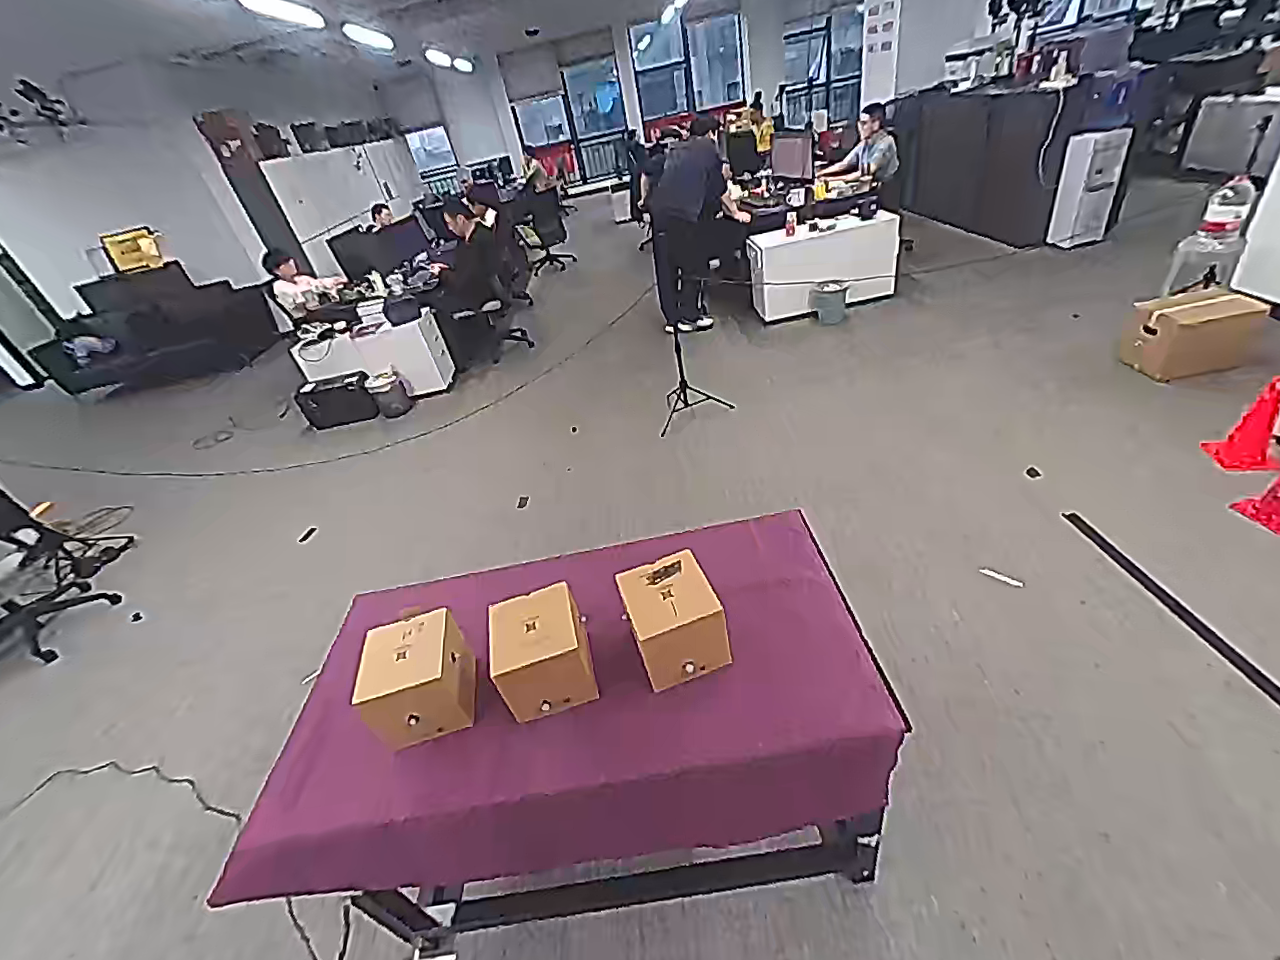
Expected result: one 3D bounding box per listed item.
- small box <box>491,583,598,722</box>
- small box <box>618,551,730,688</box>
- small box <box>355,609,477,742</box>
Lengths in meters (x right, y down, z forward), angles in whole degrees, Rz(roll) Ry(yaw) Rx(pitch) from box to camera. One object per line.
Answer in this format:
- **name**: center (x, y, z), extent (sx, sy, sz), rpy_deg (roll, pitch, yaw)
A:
- **small box**: center (-0.191, 0.345, 1.084), extent (0.168, 0.176, 0.179), rpy_deg (-17, 35, -4)
- **small box**: center (0.068, 0.279, 1.086), extent (0.168, 0.176, 0.179), rpy_deg (-19, 36, -7)
- **small box**: center (-0.438, 0.399, 1.089), extent (0.168, 0.176, 0.179), rpy_deg (-16, 35, -4)
